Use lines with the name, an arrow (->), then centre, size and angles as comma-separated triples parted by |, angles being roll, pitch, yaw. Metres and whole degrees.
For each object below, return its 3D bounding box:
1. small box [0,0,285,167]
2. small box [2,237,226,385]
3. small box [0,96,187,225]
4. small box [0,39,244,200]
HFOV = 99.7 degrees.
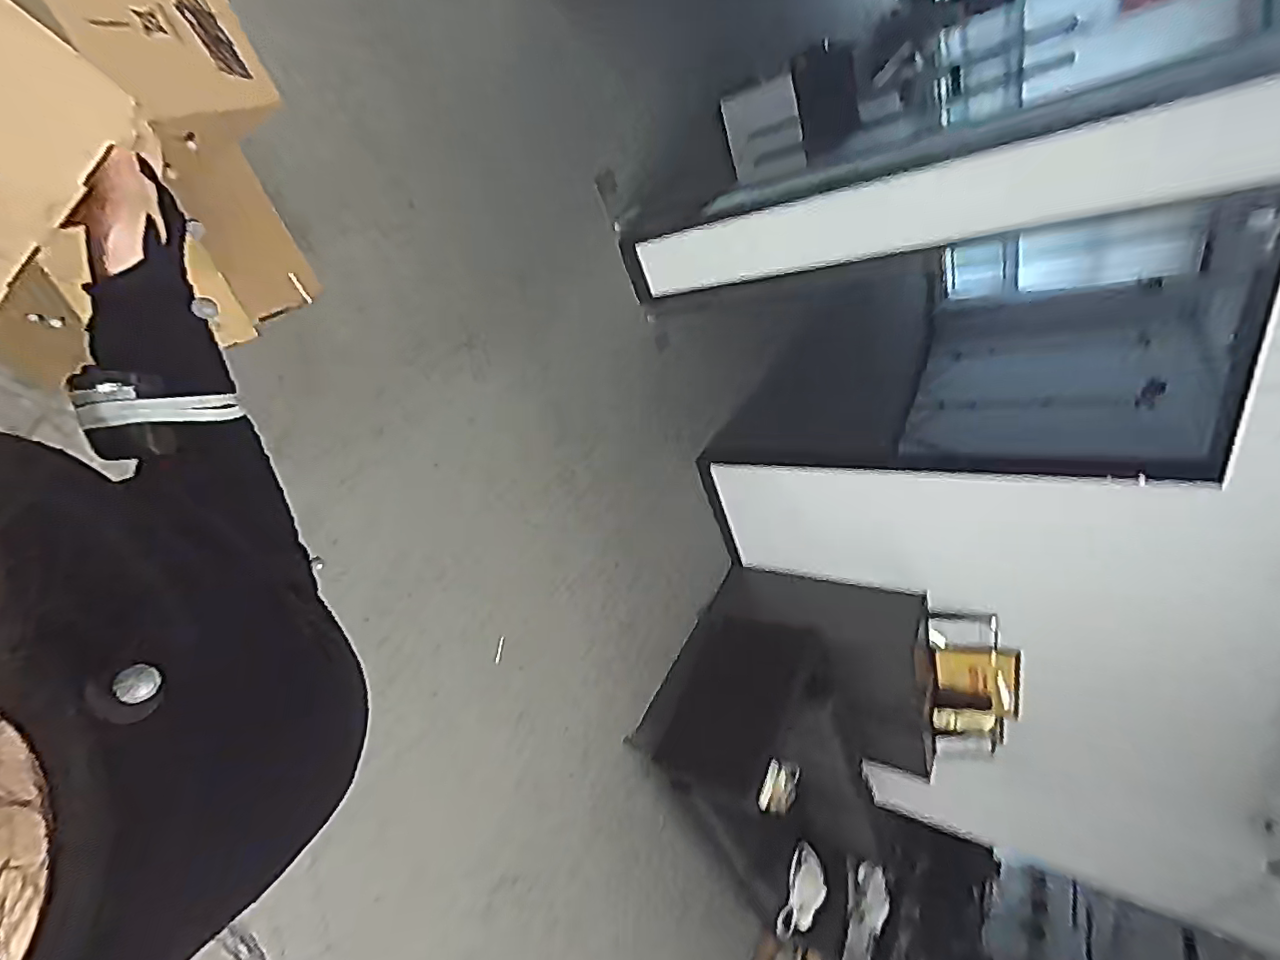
small box -> -0.560, -0.477, 0.609 | 0.179, 0.176, 0.168 | -48, 128, -40
small box -> -0.807, -0.258, 0.836 | 0.179, 0.176, 0.168 | -47, 129, -43
small box -> -0.822, -0.500, 0.804 | 0.179, 0.176, 0.168 | -49, 130, -42
small box -> -0.686, -0.492, 0.713 | 0.179, 0.176, 0.168 | -47, 129, -40
